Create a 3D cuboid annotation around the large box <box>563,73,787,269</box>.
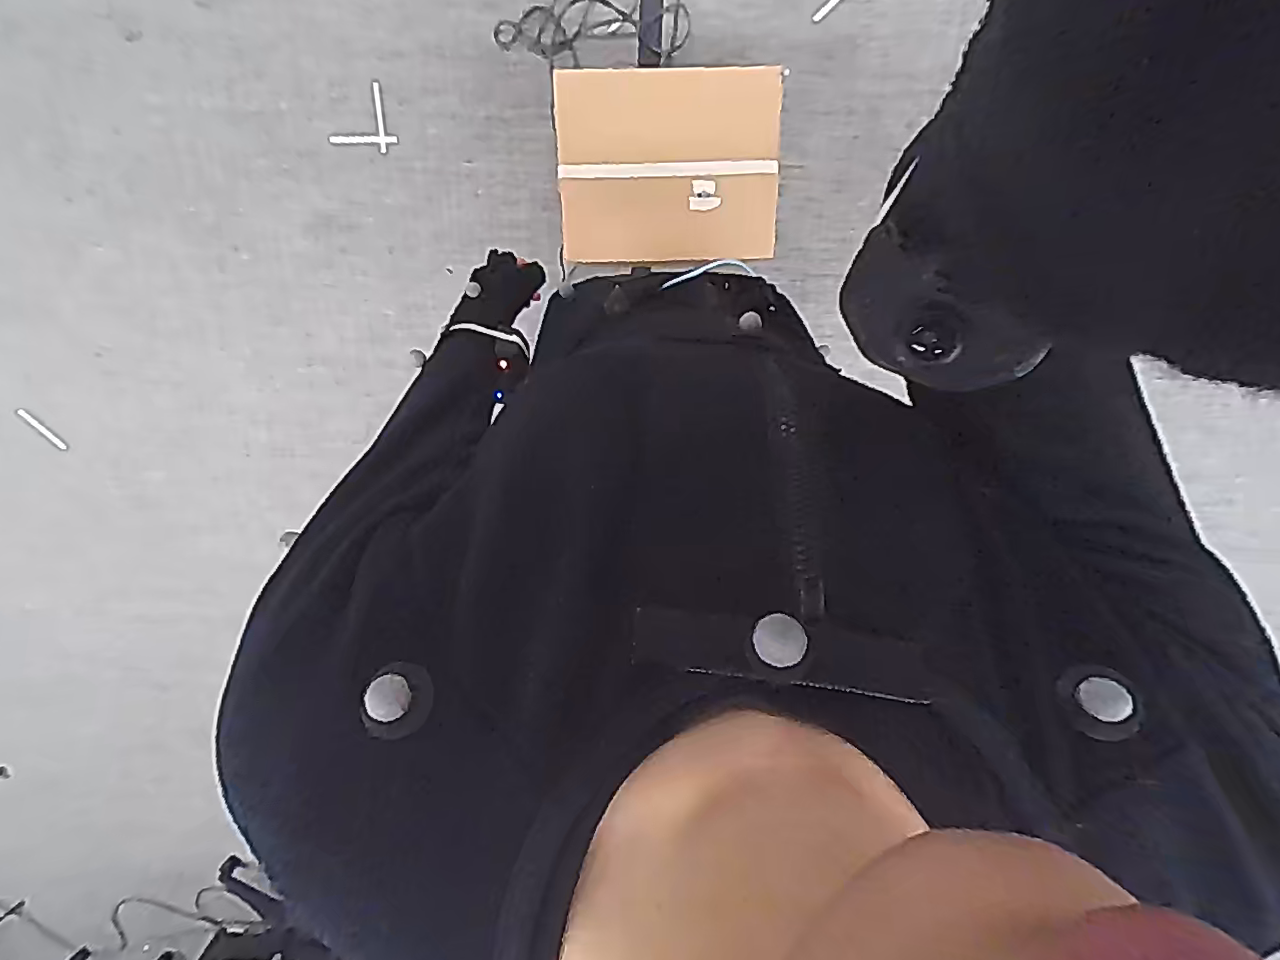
[{"bbox_3d":[0.060,-0.621,1.144,0.408,0.320,0.320,-1,110,-1],"label":"large box"}]
